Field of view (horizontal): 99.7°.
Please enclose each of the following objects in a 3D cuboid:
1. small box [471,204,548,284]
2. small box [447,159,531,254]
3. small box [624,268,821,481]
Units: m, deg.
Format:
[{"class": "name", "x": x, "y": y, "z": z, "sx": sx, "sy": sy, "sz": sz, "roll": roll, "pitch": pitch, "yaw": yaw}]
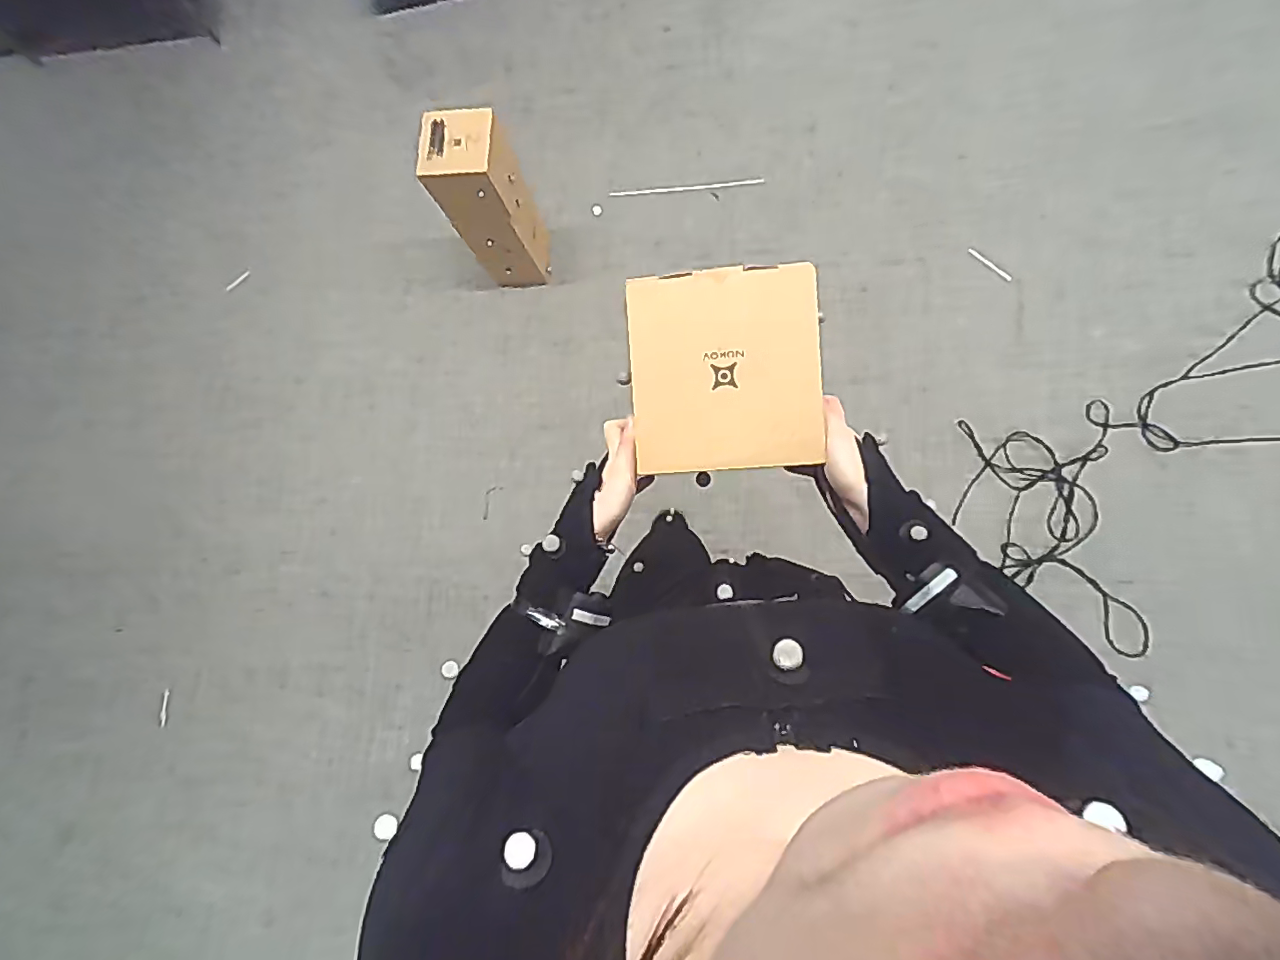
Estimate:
[{"class": "small box", "x": -0.388, "y": -0.710, "z": 1.638, "sx": 0.179, "sy": 0.176, "sz": 0.168, "roll": 1, "pitch": 82, "yaw": 9}, {"class": "small box", "x": -0.404, "y": -0.736, "z": 1.476, "sx": 0.168, "sy": 0.176, "sz": 0.179, "roll": 1, "pitch": 82, "yaw": 8}, {"class": "small box", "x": 0.079, "y": -0.092, "z": 0.550, "sx": 0.168, "sy": 0.176, "sz": 0.179, "roll": -4, "pitch": 90, "yaw": 5}]
